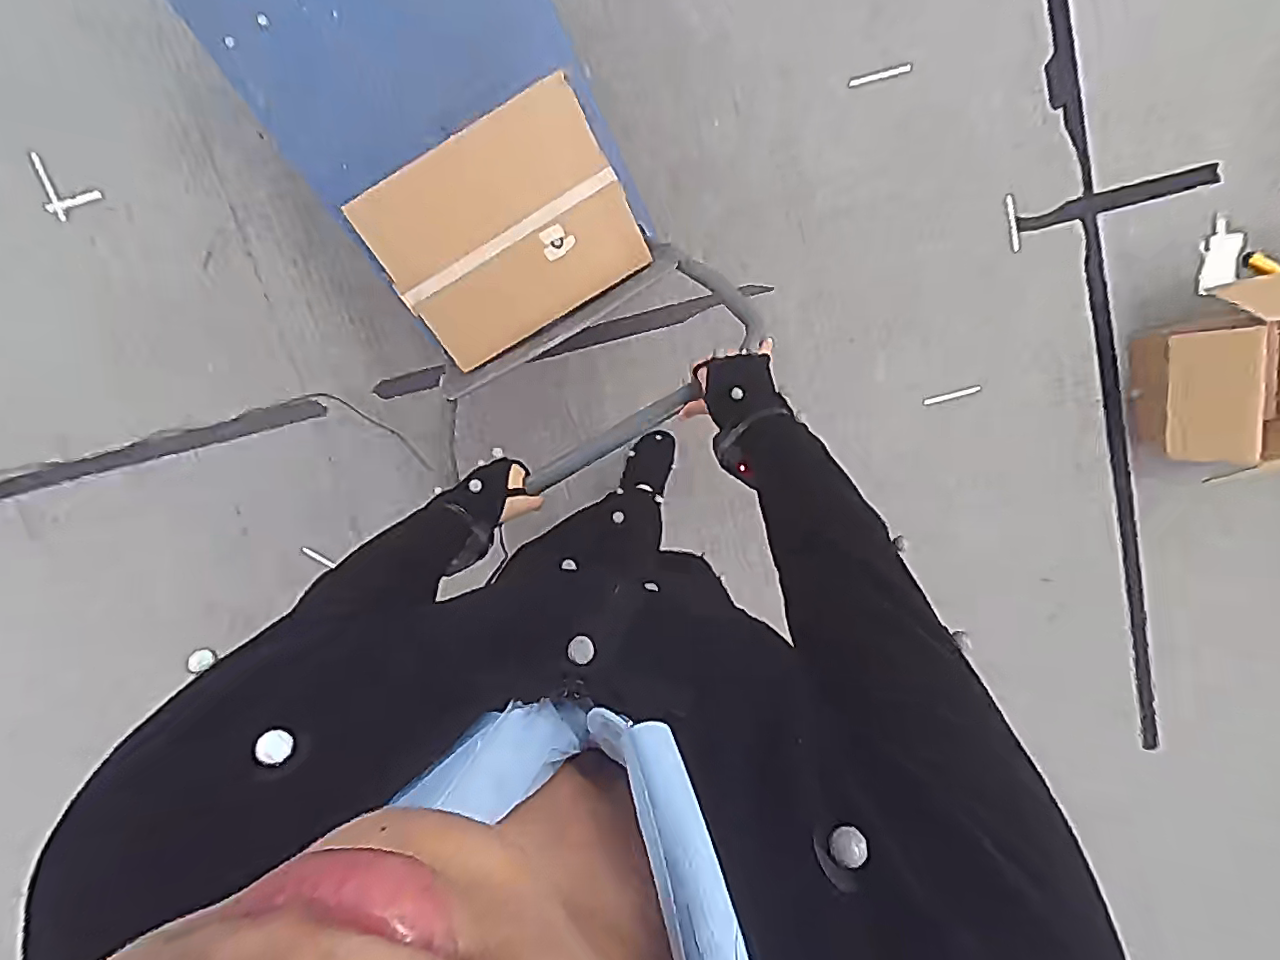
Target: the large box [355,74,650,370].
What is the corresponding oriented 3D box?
[{"bbox_3d":[-0.252,-0.480,1.048,0.408,0.320,0.320,-31,121,3],"label":"large box"}]
